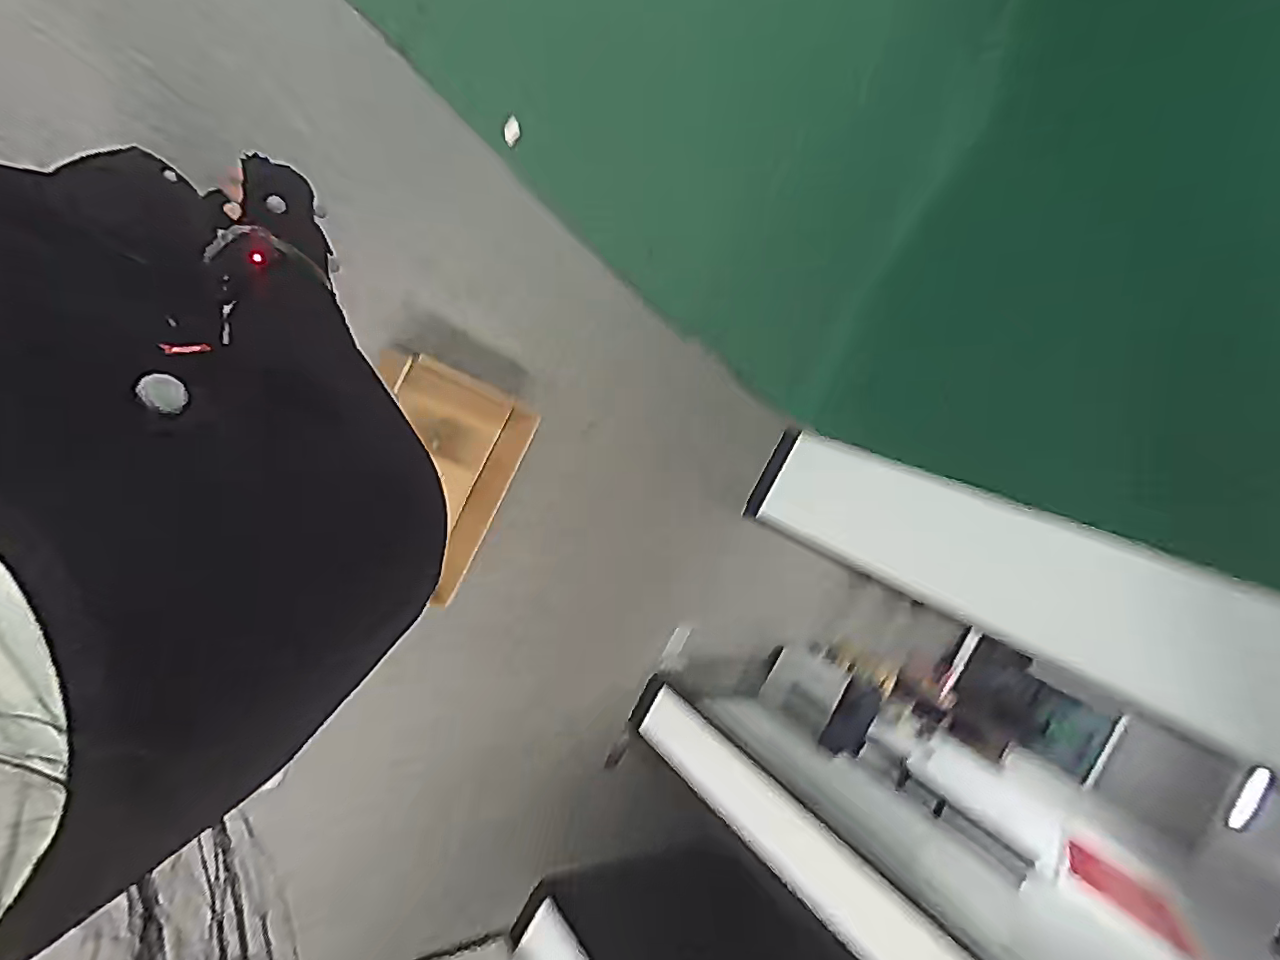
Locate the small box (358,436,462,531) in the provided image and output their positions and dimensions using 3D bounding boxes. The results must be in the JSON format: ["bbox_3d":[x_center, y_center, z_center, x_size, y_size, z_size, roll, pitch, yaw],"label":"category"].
[{"bbox_3d":[-0.603,0.008,1.405,0.168,0.176,0.179,26,90,-50],"label":"small box"}]
